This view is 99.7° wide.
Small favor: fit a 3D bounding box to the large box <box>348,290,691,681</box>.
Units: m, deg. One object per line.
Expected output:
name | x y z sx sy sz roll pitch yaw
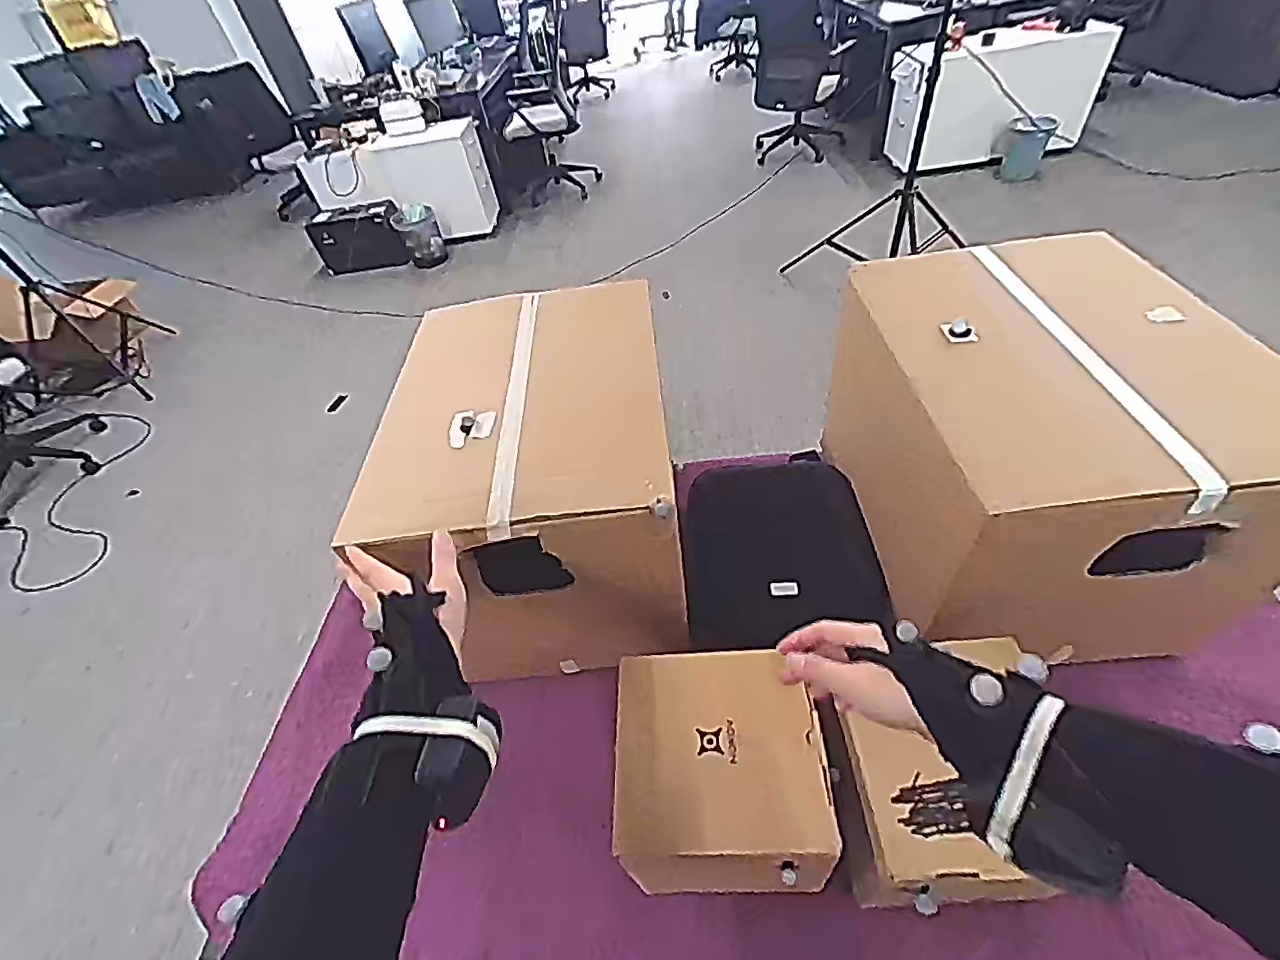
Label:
large box | -0.114 0.003 0.723 0.320 0.320 0.408 -8 49 3
